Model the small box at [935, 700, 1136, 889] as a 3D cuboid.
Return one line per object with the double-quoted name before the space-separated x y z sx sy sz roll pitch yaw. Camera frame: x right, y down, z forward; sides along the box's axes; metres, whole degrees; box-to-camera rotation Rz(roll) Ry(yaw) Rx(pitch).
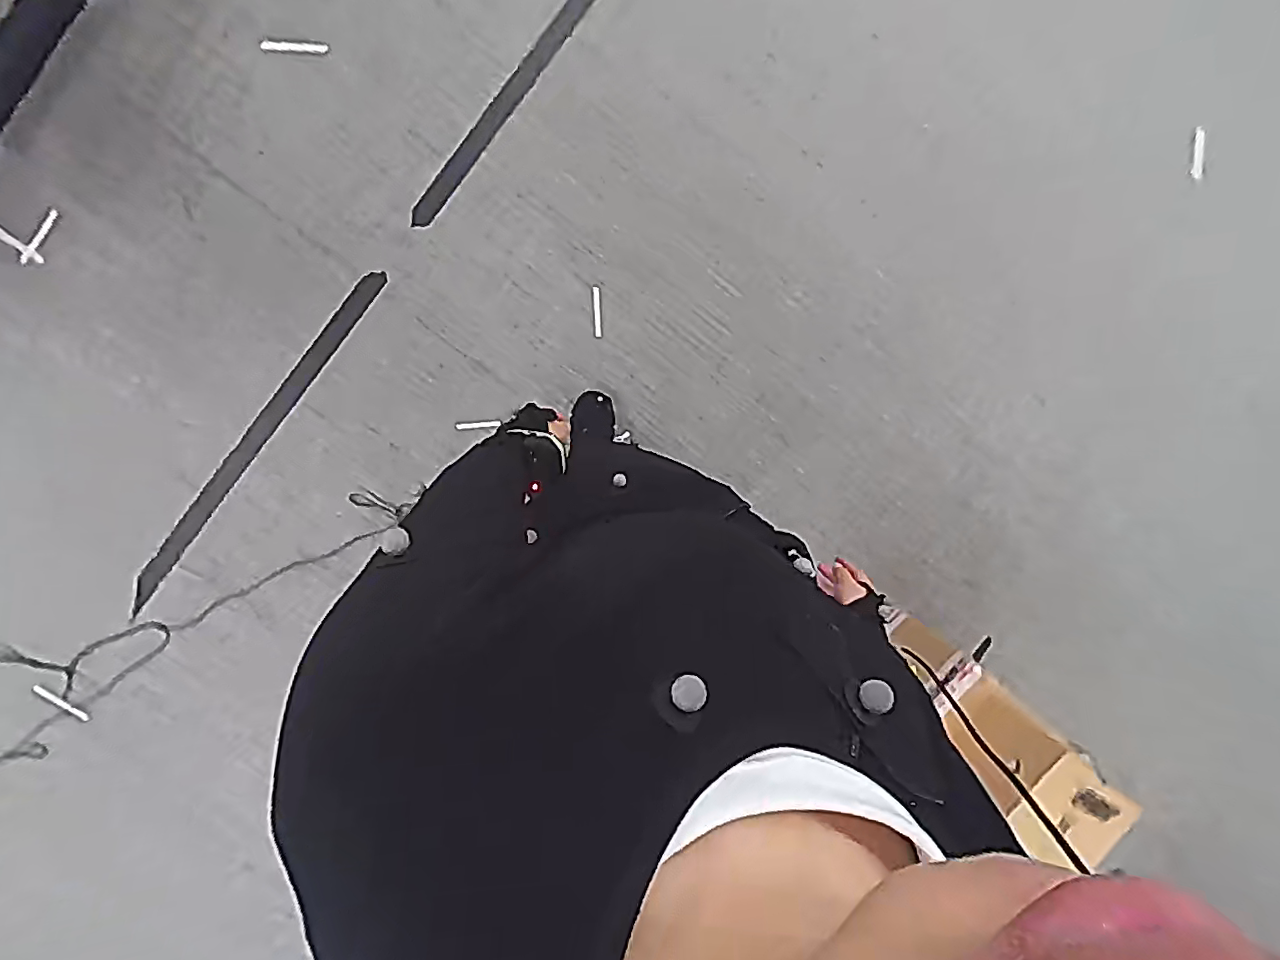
"small box" 0.644 0.510 0.905 0.168 0.176 0.179 40 93 -5
